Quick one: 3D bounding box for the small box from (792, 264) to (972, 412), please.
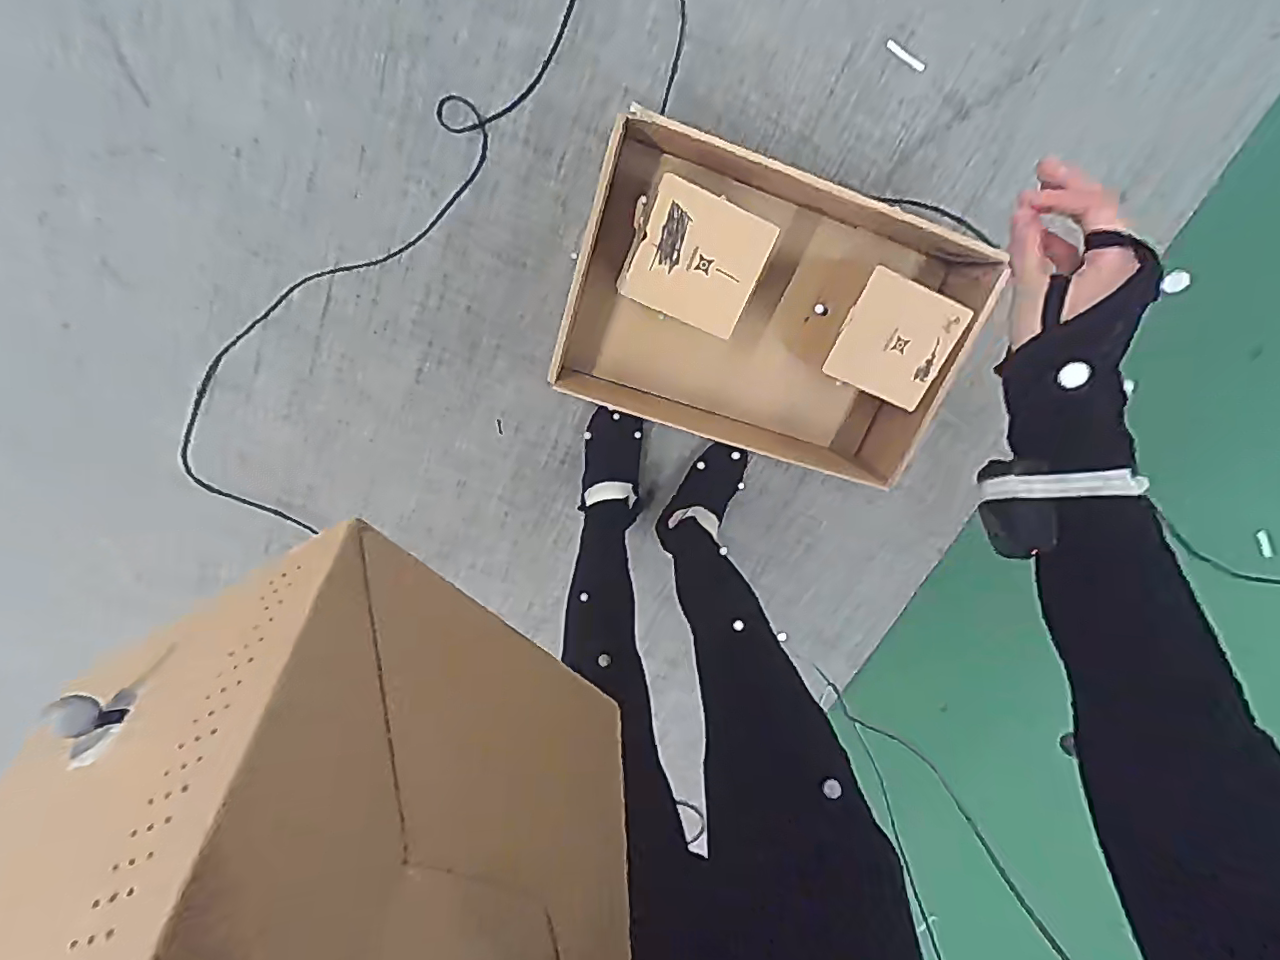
[{"bbox_3d":[0.376,-0.234,0.879,0.179,0.176,0.168,21,110,-11],"label":"small box"}]
